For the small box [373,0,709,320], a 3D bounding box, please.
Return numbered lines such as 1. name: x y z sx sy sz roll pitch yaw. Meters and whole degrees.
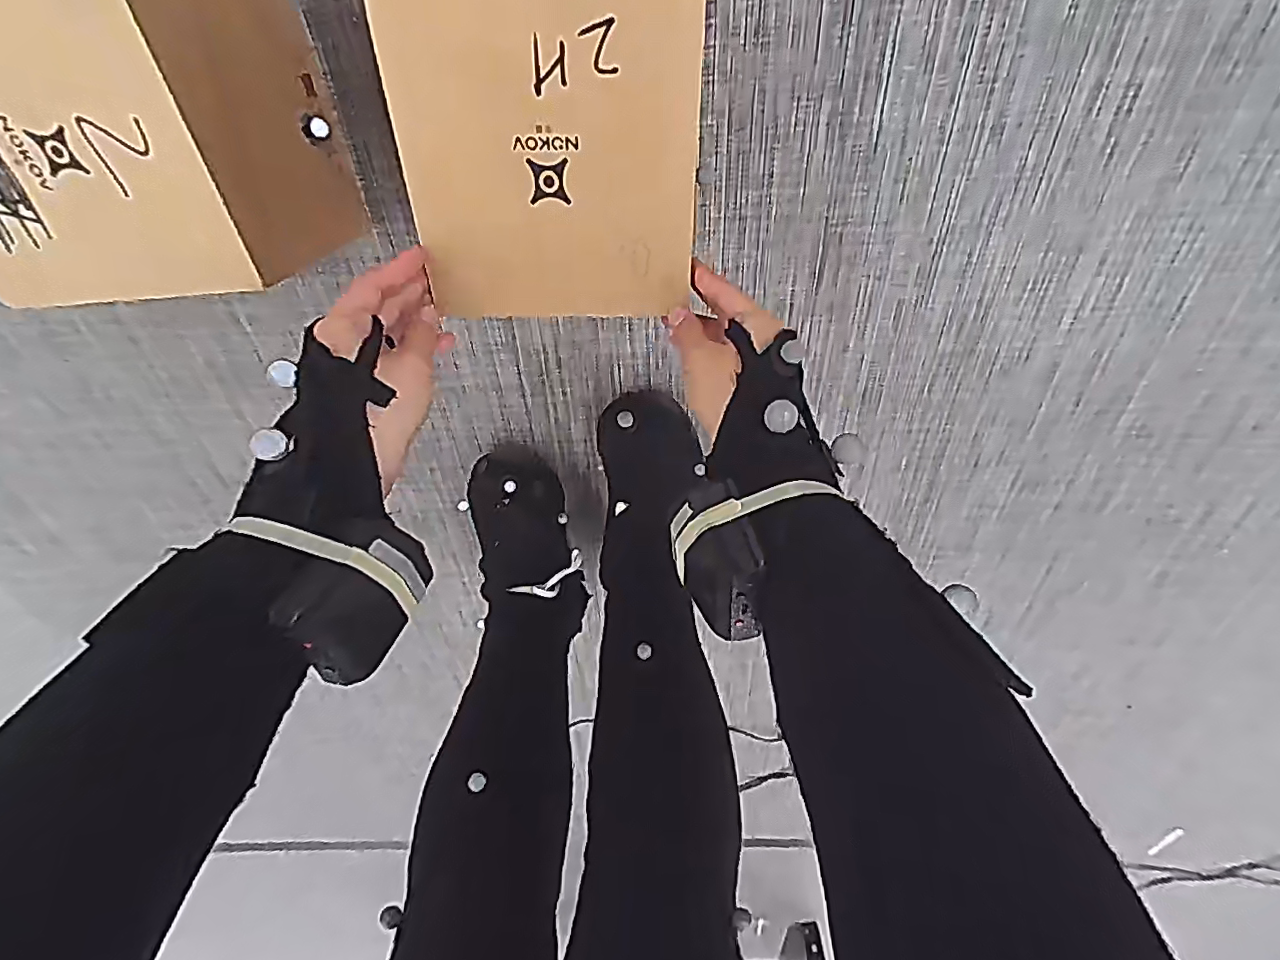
1. small box: -0.049 -0.224 0.368 0.168 0.176 0.179 0 127 -1
